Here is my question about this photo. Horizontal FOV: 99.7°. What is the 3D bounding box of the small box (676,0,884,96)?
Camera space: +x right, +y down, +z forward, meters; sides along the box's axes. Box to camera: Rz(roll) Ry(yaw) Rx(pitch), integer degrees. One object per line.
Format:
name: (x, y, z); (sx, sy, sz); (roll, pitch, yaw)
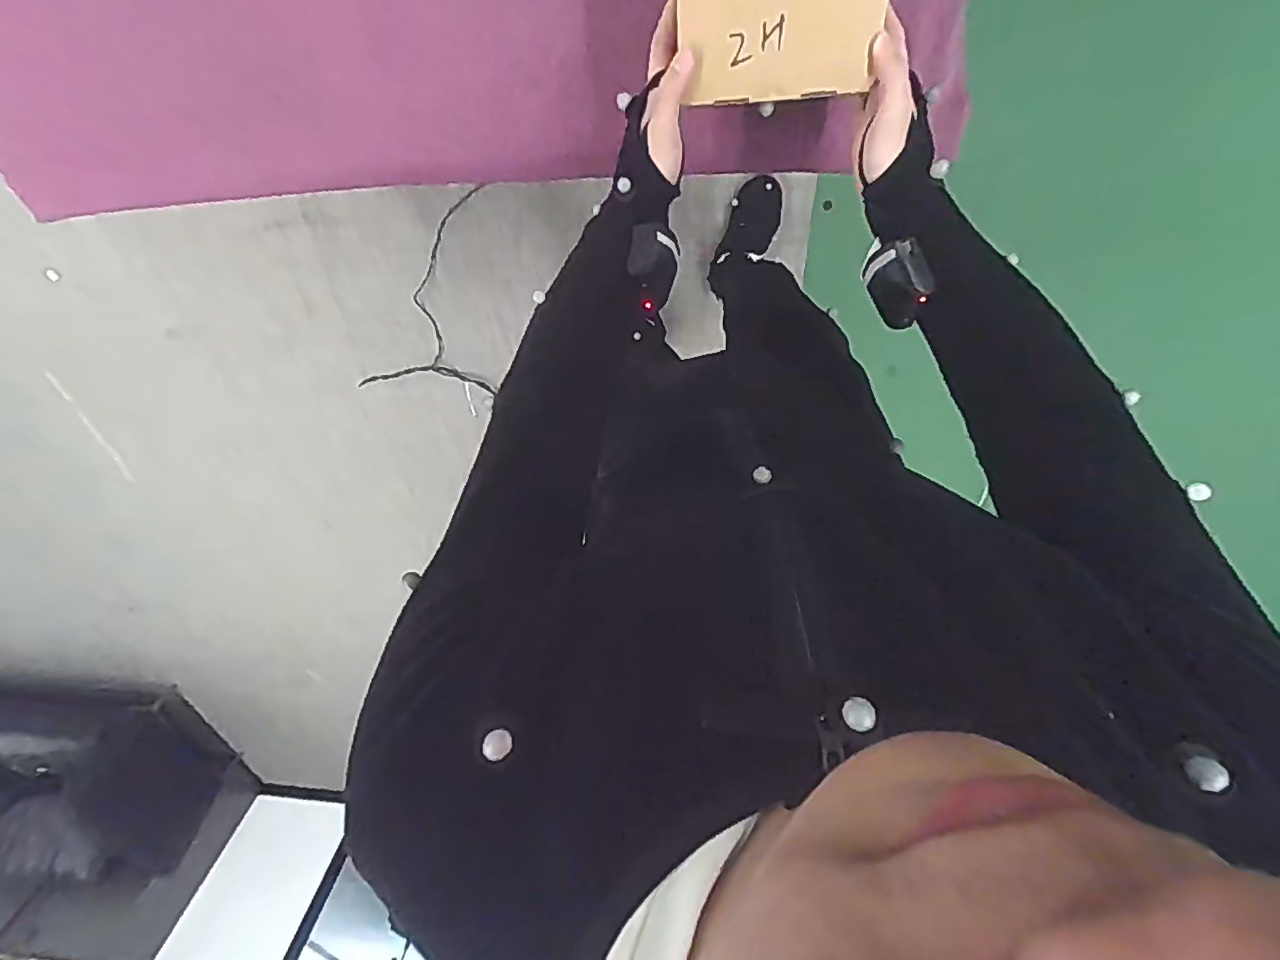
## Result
small box: (0.119, -0.449, 0.476); (0.168, 0.176, 0.179); (2, 127, 9)
